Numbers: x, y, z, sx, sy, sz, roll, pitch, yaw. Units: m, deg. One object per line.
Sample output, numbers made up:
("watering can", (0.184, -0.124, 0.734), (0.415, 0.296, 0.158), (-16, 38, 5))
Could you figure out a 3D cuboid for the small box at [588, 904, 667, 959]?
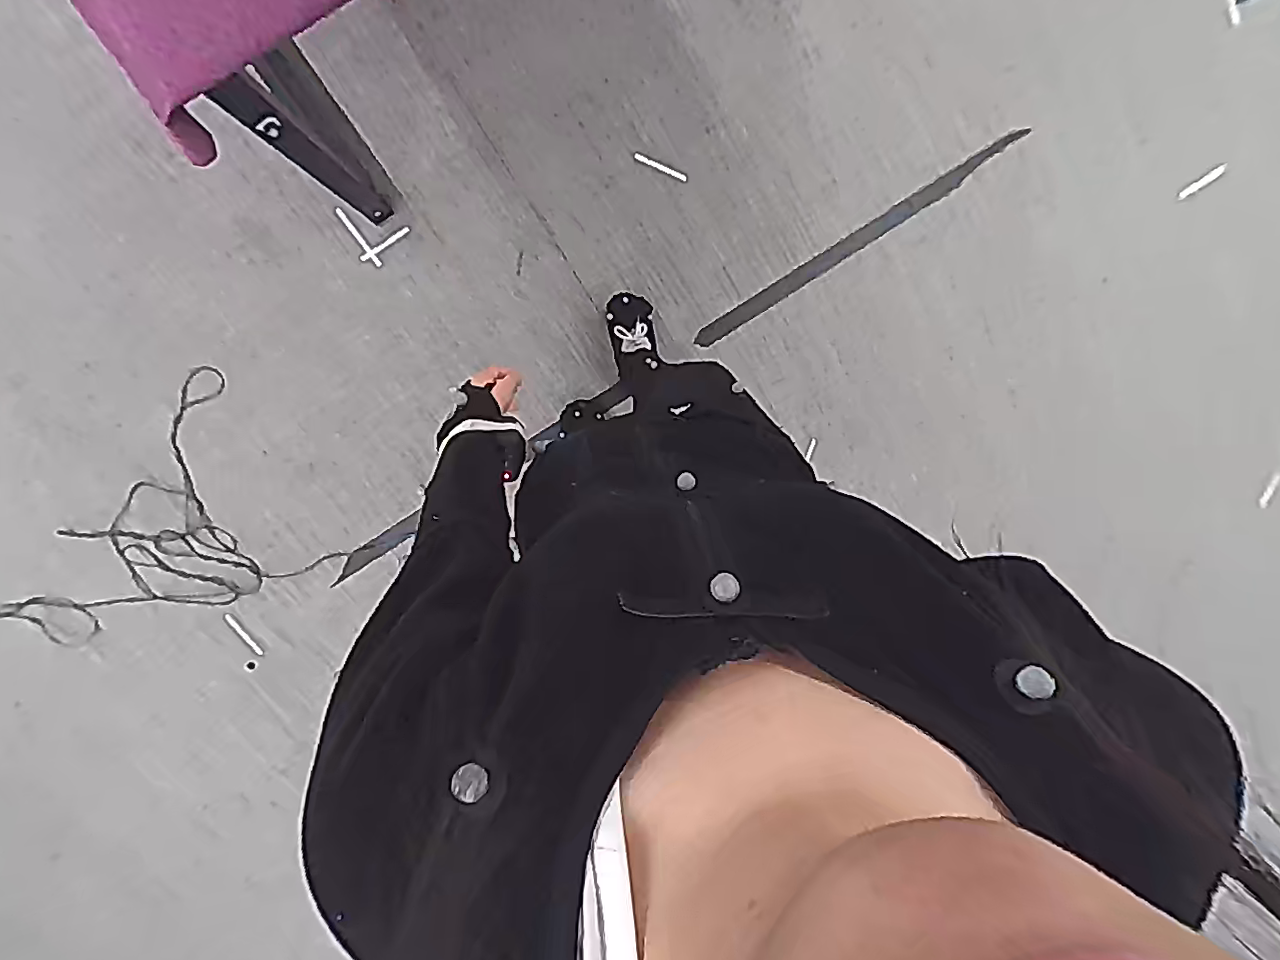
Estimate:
("small box", (-0.033, 1.201, 1.328), (0.168, 0.176, 0.179), (14, 98, -9))
